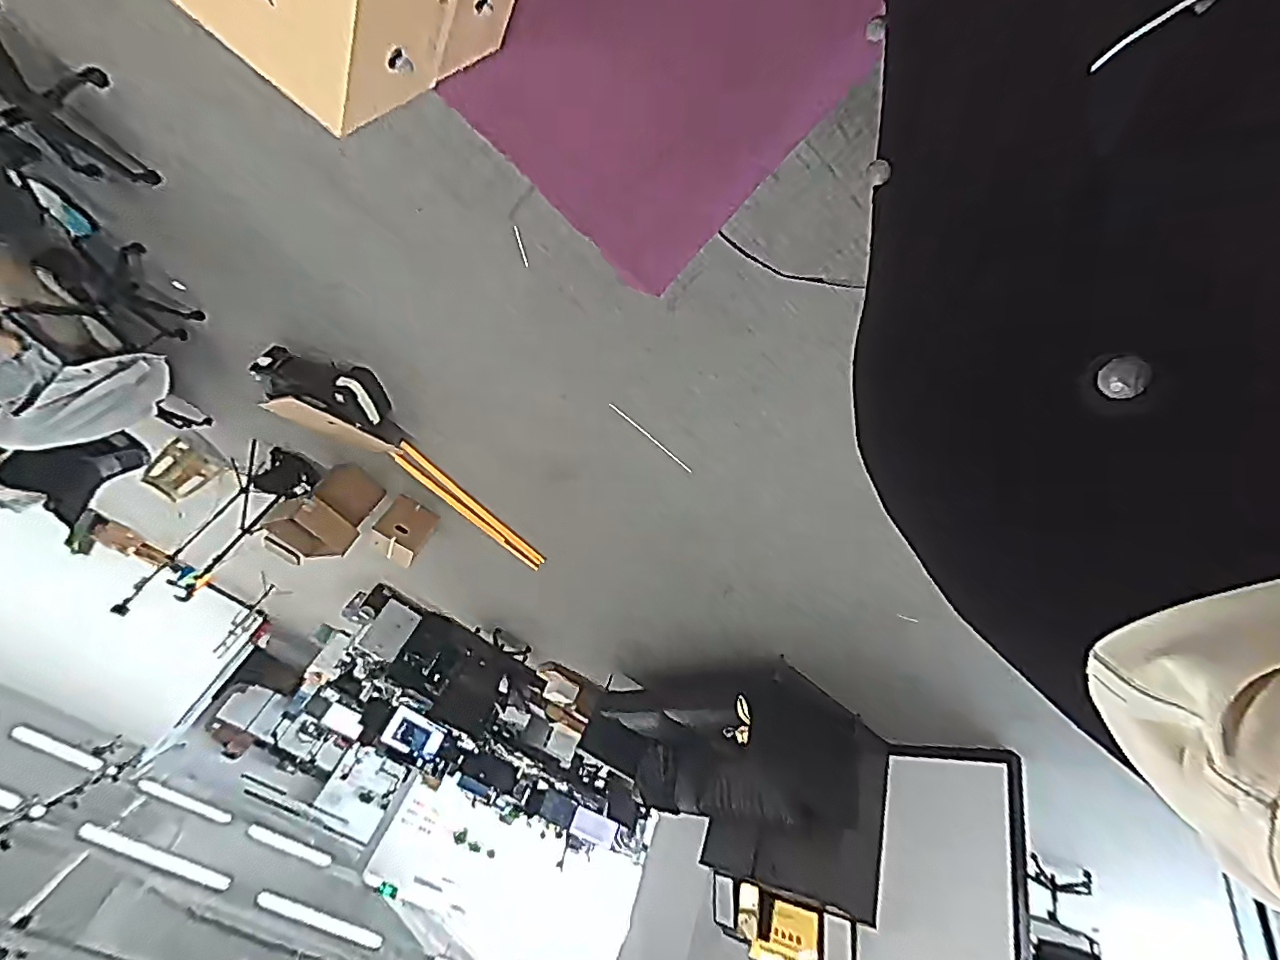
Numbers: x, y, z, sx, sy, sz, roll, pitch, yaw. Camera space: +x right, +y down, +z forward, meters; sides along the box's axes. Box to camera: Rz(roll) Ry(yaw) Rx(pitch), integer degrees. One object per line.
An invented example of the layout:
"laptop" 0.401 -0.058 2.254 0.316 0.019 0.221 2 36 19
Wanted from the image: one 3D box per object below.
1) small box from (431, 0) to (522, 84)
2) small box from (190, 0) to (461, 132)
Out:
"small box" -0.225 -0.597 0.591 0.168 0.176 0.179 37 143 -15
"small box" -0.277 -0.478 0.494 0.179 0.176 0.168 38 143 -15
